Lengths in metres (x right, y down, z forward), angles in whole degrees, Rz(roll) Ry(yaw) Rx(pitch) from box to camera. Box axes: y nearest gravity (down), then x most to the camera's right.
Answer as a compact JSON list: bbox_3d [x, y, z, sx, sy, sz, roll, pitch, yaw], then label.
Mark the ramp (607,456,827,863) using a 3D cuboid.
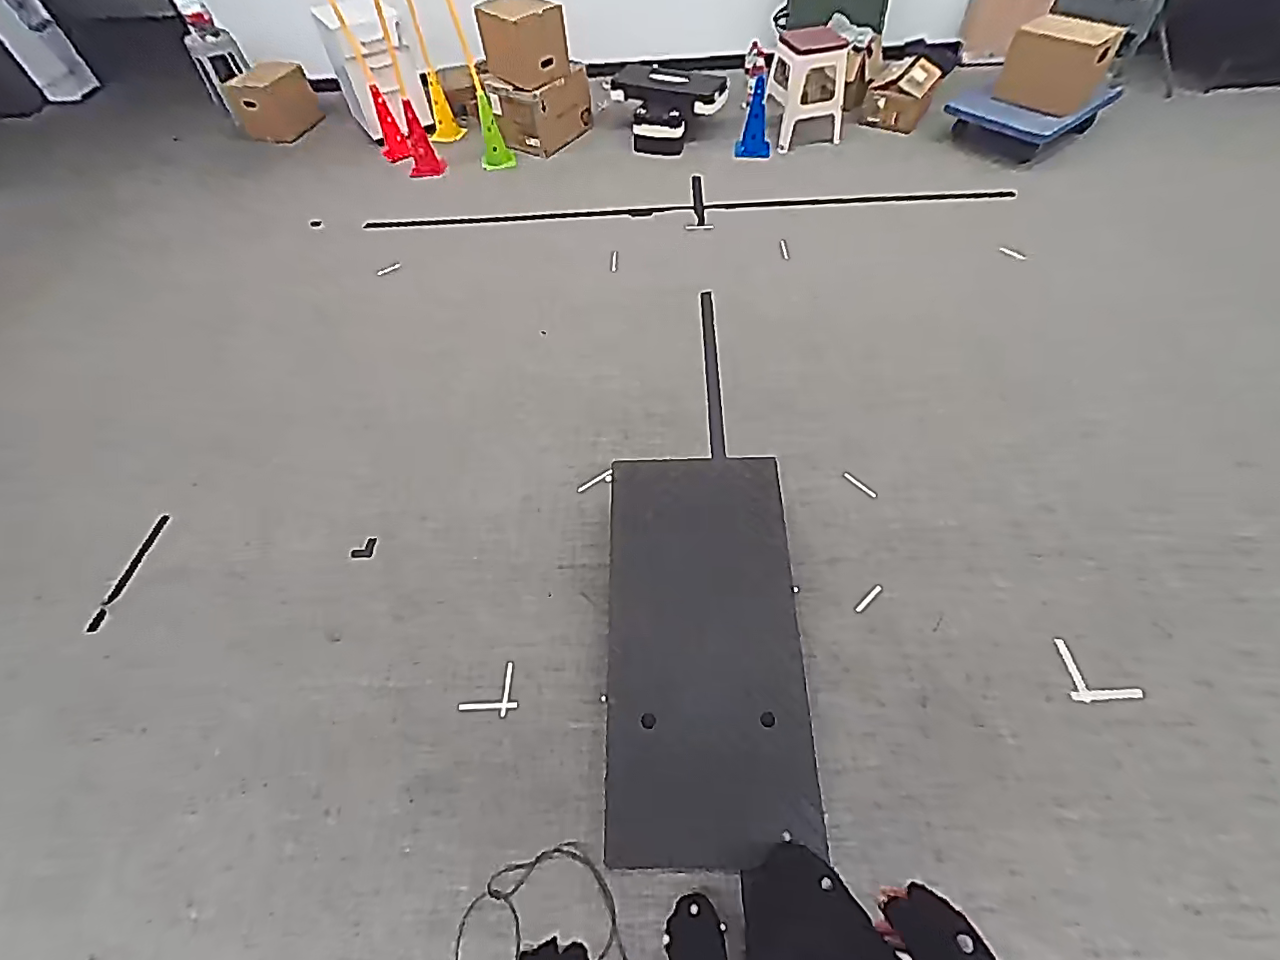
[{"bbox_3d":[0.163,0.387,1.399,0.509,0.206,0.991,-3,54,0],"label":"ramp"}]
